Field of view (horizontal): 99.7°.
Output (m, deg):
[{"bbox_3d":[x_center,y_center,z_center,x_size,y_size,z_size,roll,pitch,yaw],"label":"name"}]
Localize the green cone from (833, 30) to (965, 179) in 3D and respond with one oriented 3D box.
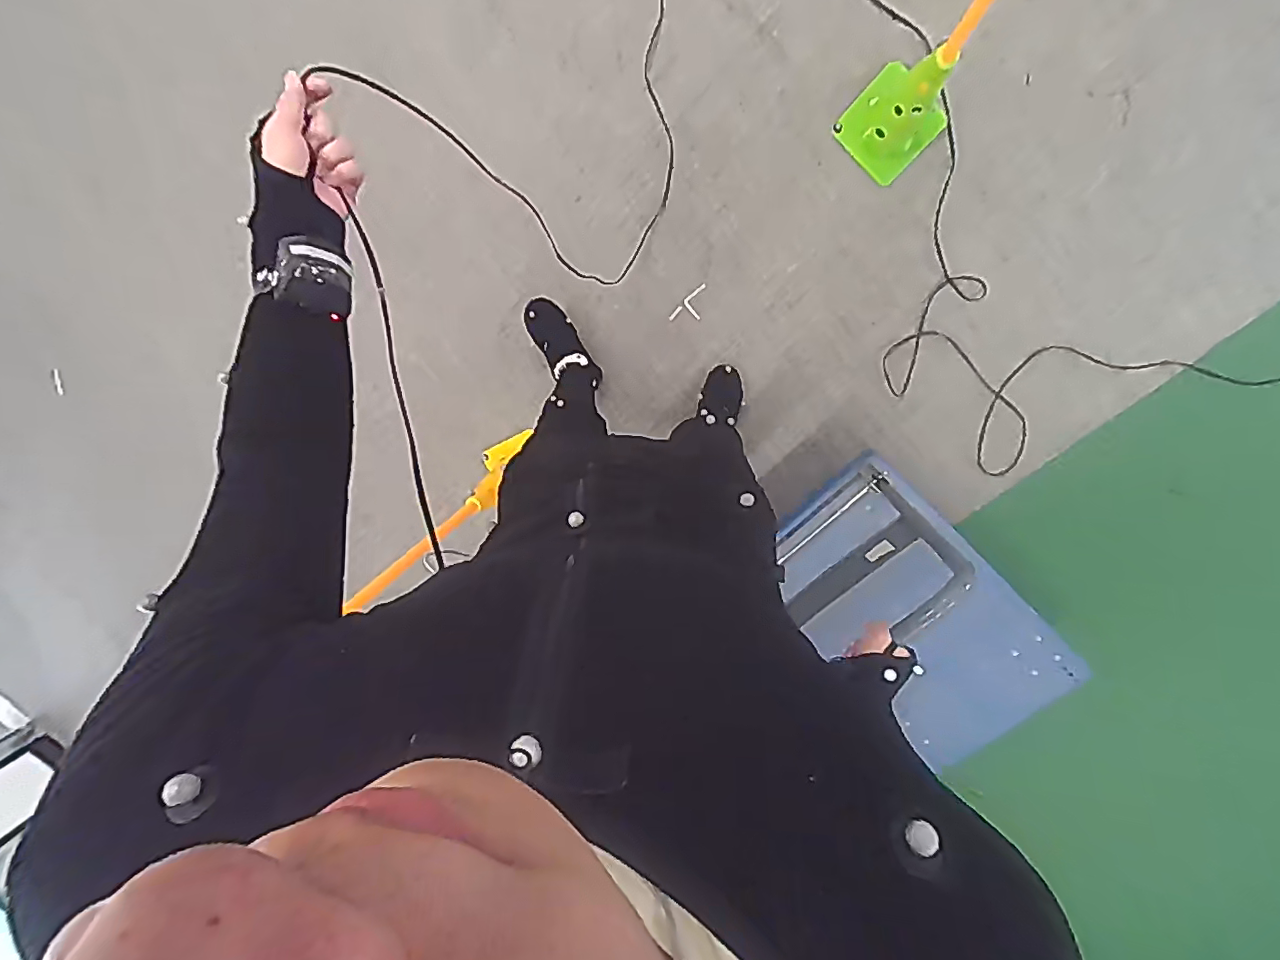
[{"bbox_3d":[0.573,-0.814,1.125,0.200,0.368,0.202,42,106,-6],"label":"green cone"}]
